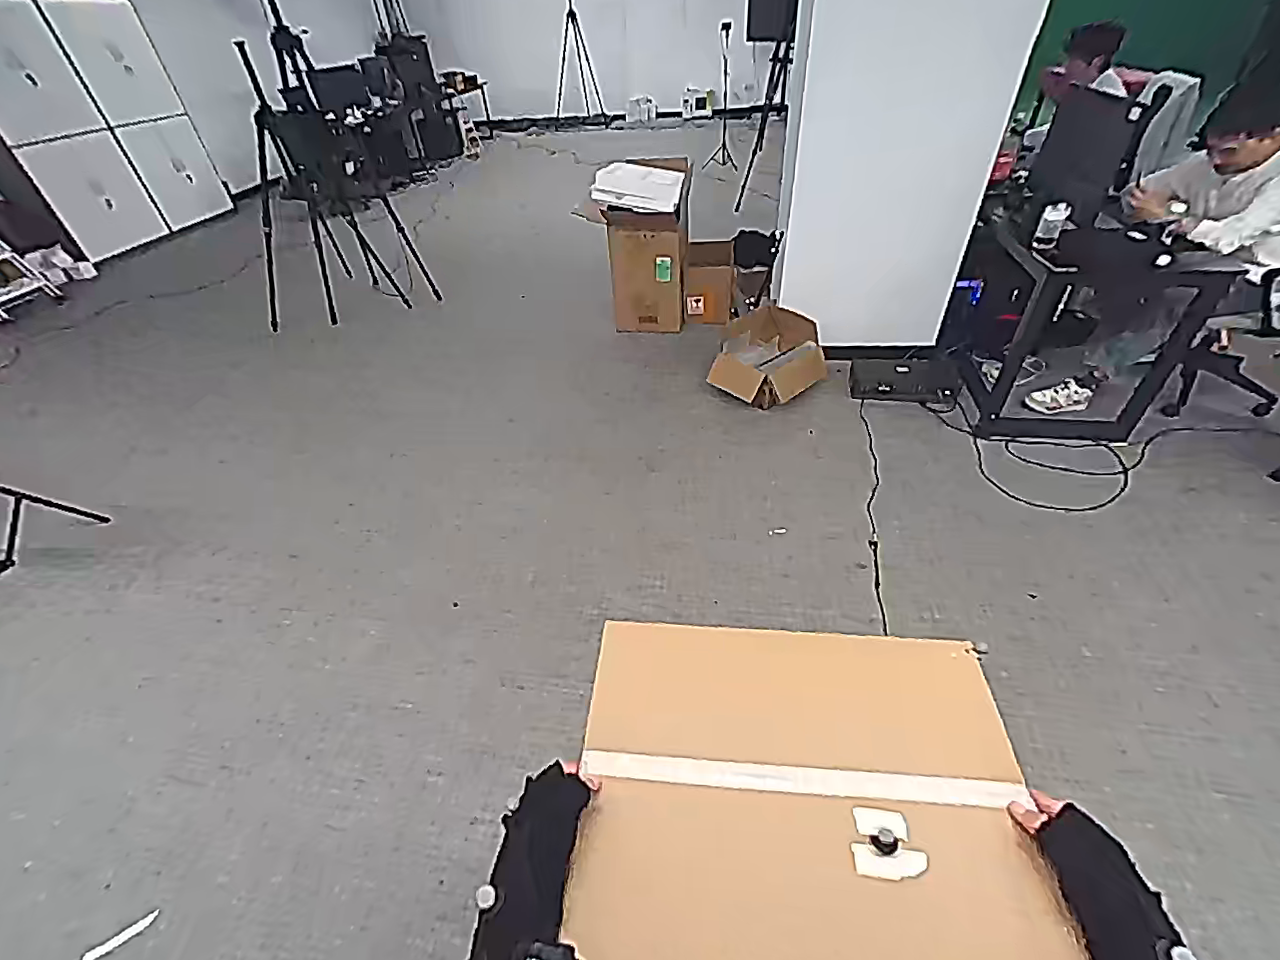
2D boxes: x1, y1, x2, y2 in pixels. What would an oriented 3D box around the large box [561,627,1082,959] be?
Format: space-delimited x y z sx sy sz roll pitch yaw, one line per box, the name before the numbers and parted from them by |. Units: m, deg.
large box | 0.151 0.391 0.608 0.408 0.320 0.320 2 43 6
